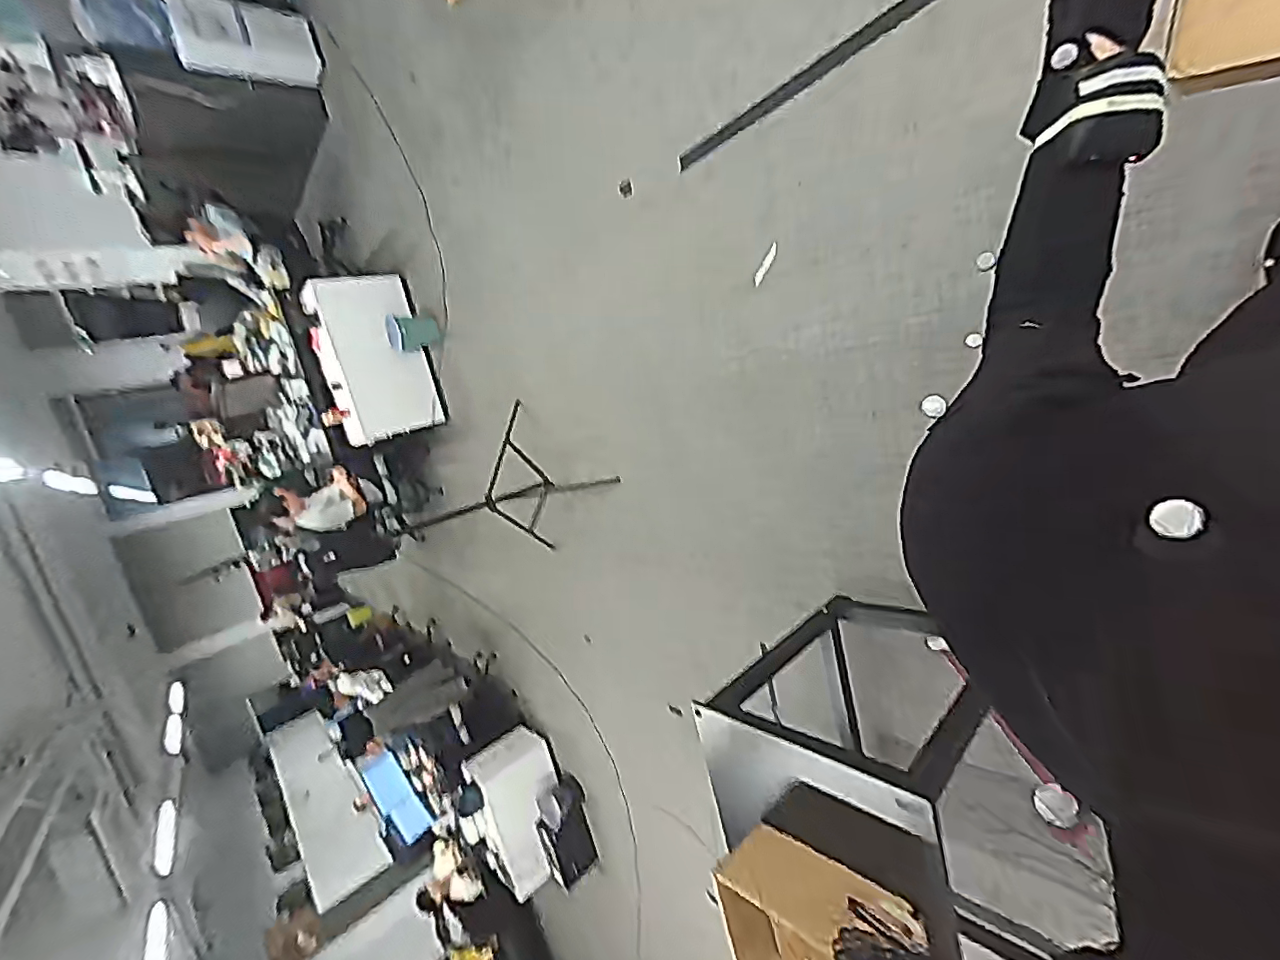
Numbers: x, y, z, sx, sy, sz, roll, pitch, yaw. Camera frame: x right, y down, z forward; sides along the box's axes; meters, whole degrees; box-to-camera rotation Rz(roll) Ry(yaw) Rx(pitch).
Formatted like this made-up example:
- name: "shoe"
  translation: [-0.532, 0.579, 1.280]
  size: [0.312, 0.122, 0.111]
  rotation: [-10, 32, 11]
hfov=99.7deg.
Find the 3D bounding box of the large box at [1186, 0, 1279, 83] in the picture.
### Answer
- name: "large box"
  translation: [0.622, -0.479, 0.309]
  size: [0.408, 0.320, 0.320]
  rotation: [13, 124, 41]
